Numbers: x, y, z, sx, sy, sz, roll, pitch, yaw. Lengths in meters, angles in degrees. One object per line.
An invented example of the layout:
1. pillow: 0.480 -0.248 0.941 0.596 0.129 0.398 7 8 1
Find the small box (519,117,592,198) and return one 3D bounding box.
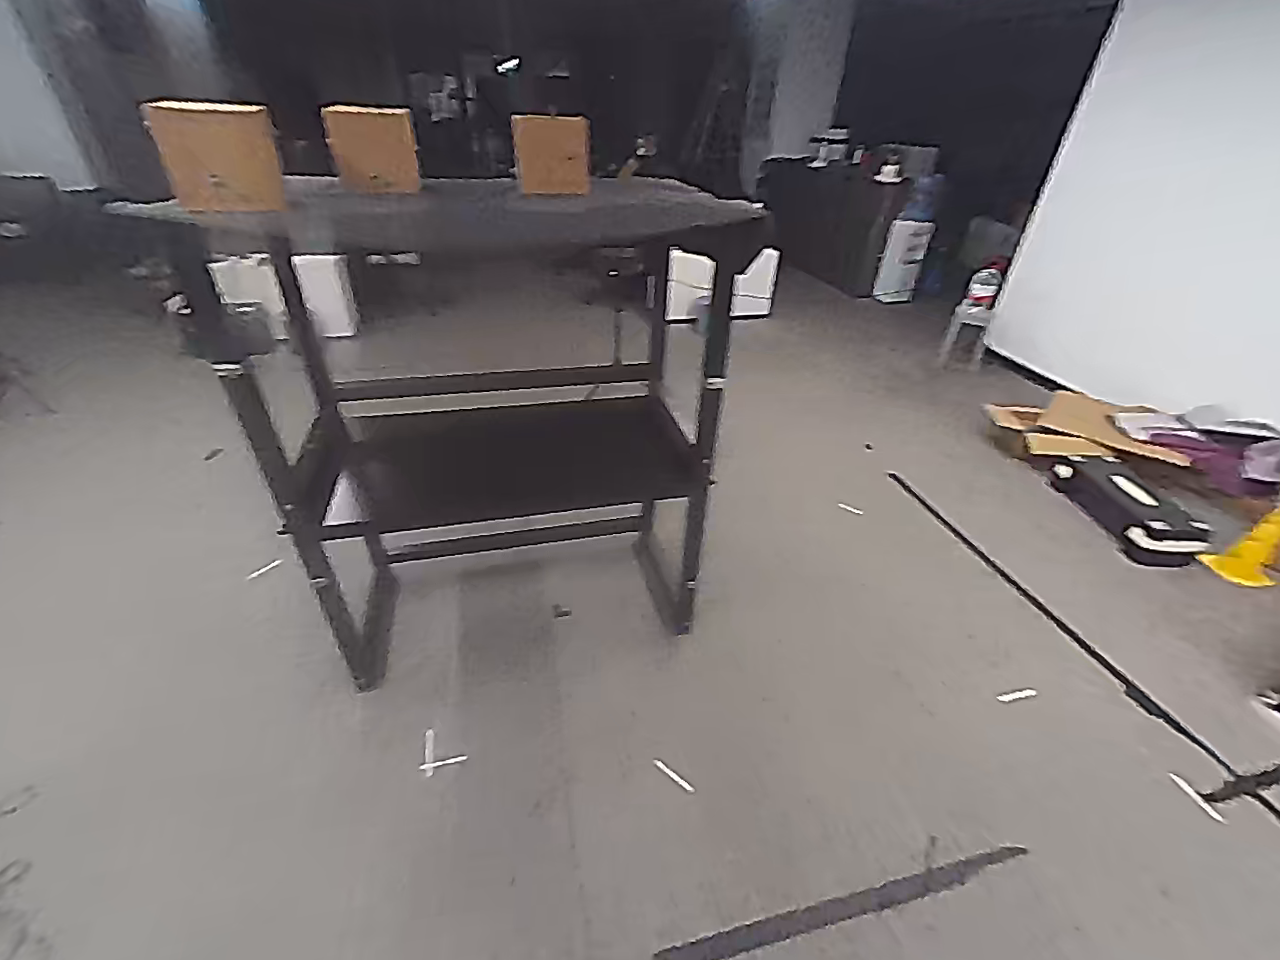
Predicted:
1. small box: -0.223 -0.847 1.421 0.179 0.176 0.168 -5 35 -11

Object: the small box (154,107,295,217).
1. small box: -0.799 -0.626 1.065 0.168 0.176 0.179 -12 38 -21
